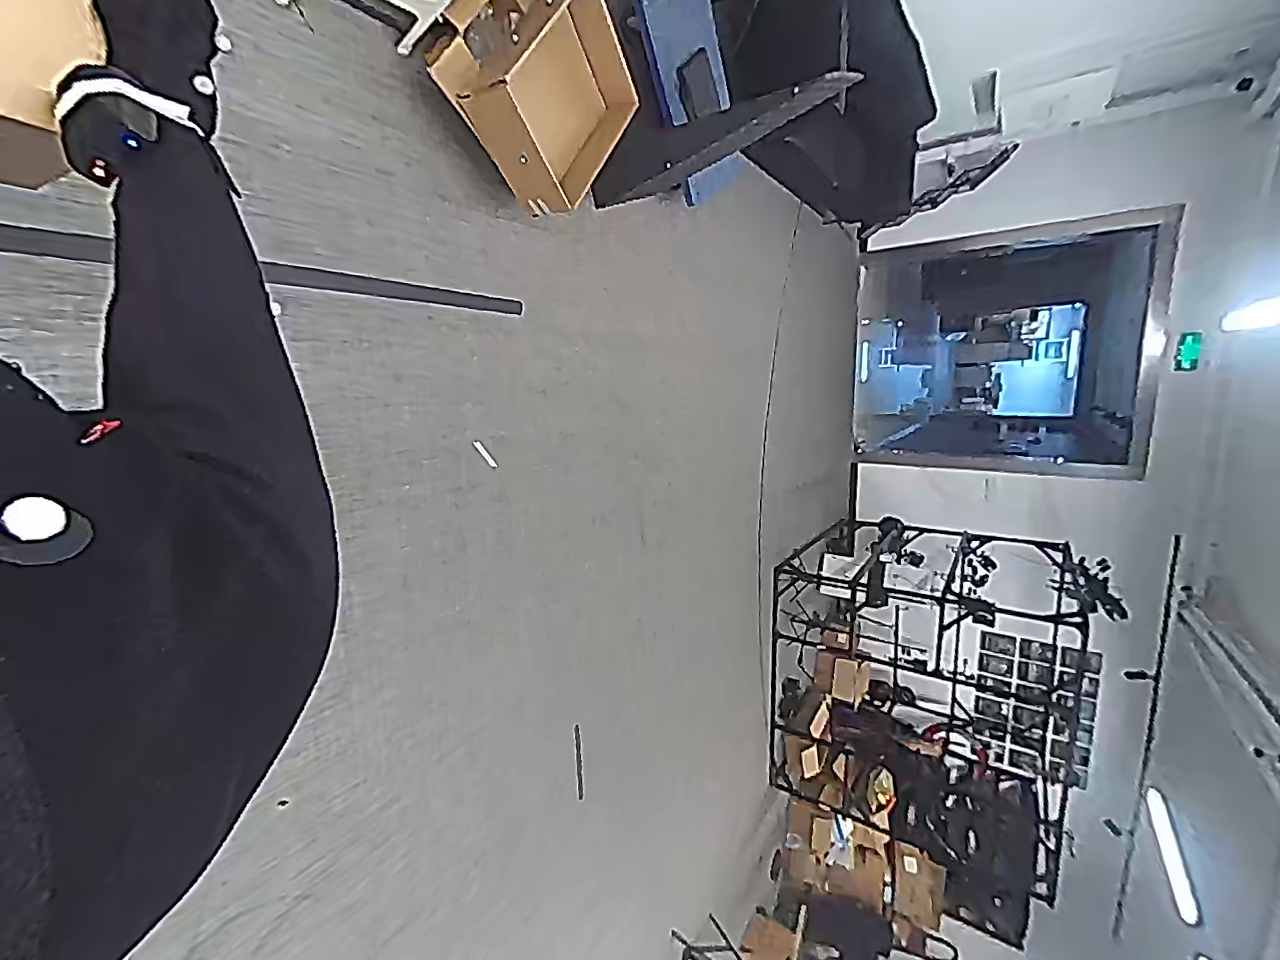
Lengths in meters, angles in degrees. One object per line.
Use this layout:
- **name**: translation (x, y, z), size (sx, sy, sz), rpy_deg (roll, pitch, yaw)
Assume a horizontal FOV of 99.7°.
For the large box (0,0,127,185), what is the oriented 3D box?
- **large box**: translation (-0.640, -0.424, 0.329), size (0.408, 0.320, 0.320), rpy_deg (-10, 109, -56)
